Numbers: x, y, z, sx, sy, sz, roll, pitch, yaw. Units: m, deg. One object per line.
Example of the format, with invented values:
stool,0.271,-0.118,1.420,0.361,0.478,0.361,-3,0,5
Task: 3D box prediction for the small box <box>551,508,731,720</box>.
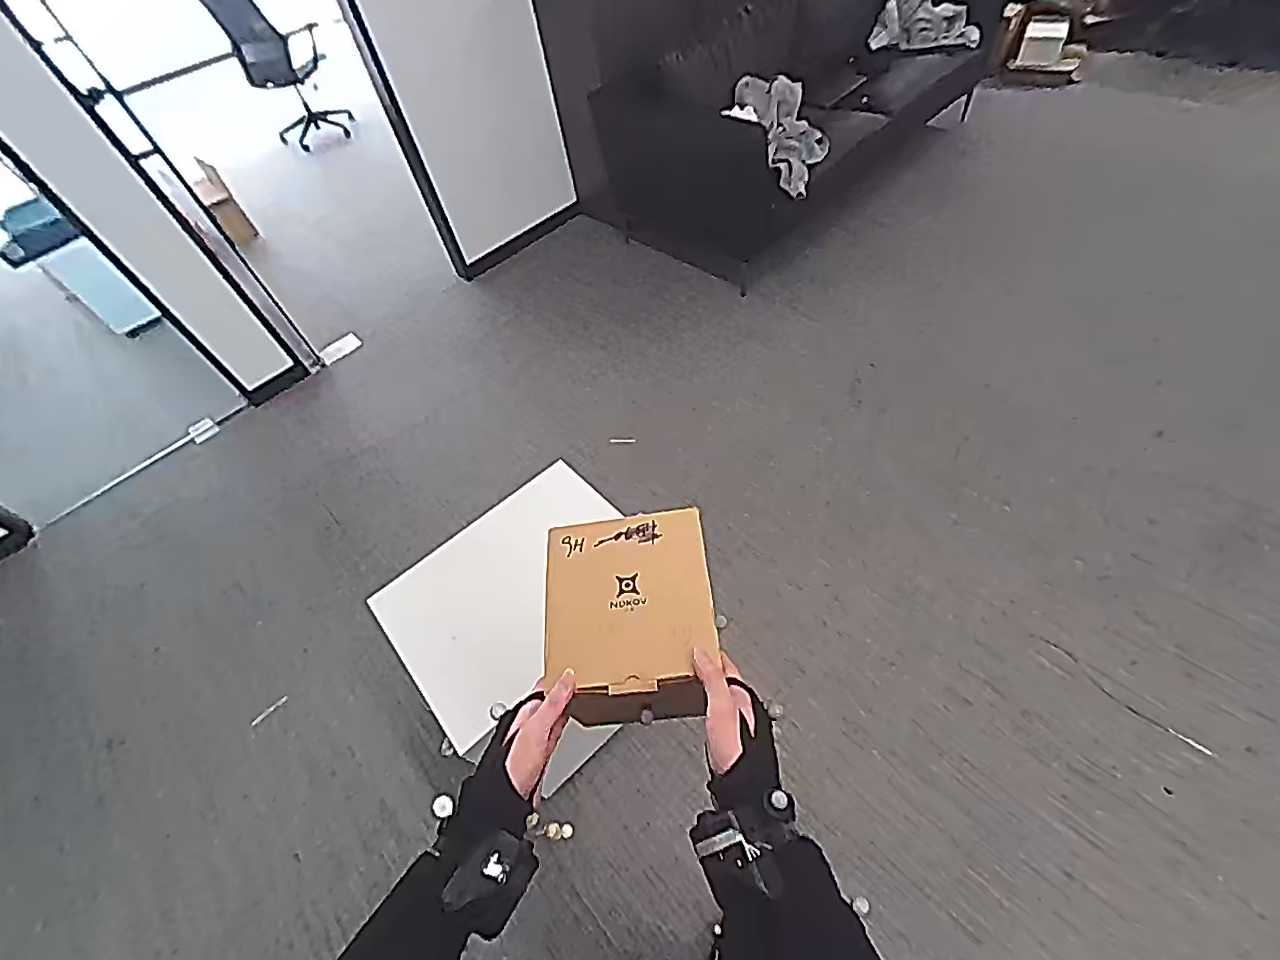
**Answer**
small box,0.004,0.158,0.604,0.168,0.176,0.179,-11,55,4
